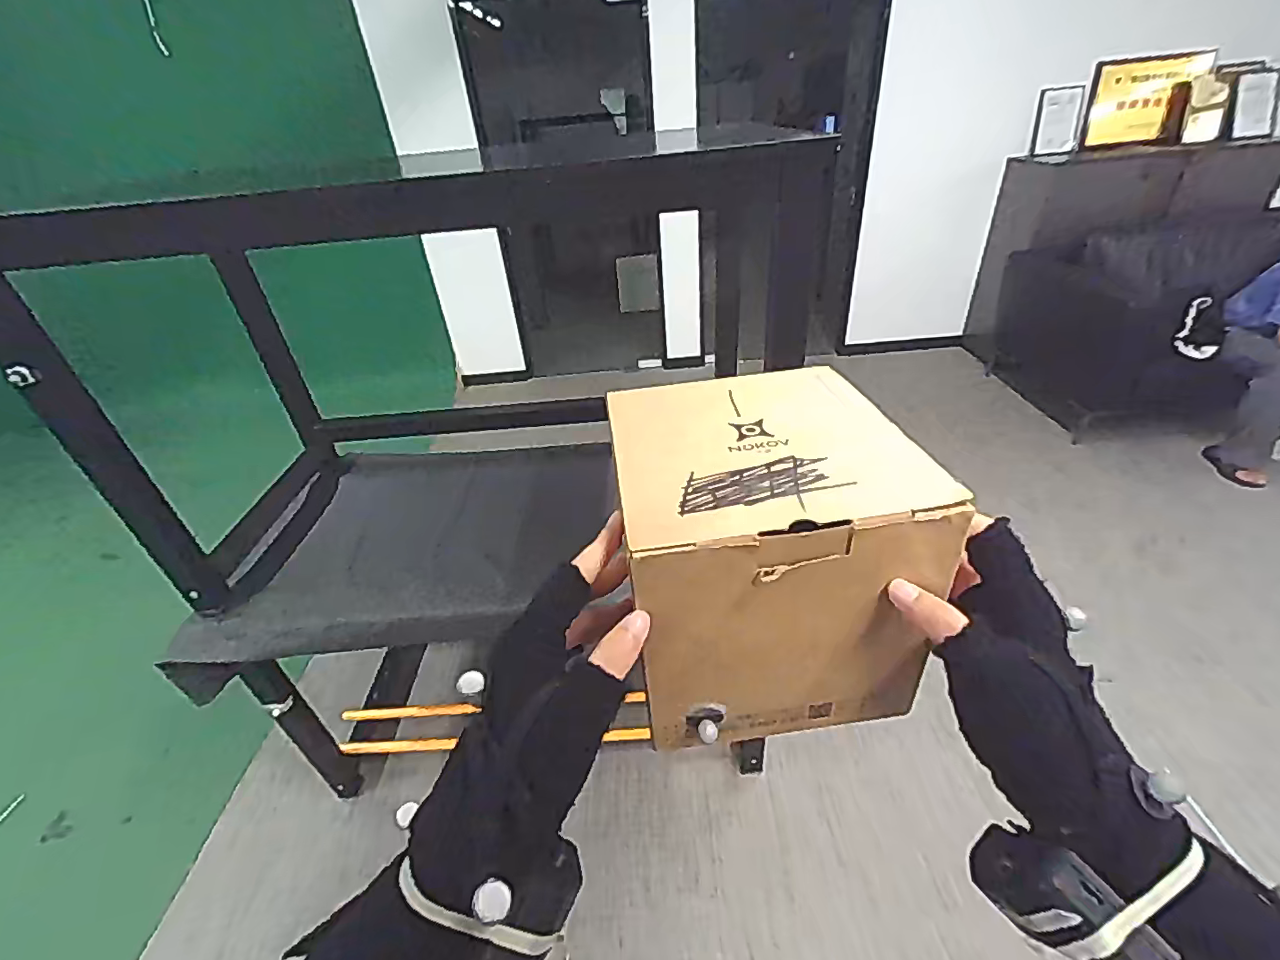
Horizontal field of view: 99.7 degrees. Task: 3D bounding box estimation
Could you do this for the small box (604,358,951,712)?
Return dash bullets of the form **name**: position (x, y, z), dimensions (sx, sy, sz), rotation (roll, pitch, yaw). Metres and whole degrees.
- **small box**: position (0.069, 0.035, 0.367), dimensions (0.168, 0.176, 0.179), rotation (-7, 33, -2)
